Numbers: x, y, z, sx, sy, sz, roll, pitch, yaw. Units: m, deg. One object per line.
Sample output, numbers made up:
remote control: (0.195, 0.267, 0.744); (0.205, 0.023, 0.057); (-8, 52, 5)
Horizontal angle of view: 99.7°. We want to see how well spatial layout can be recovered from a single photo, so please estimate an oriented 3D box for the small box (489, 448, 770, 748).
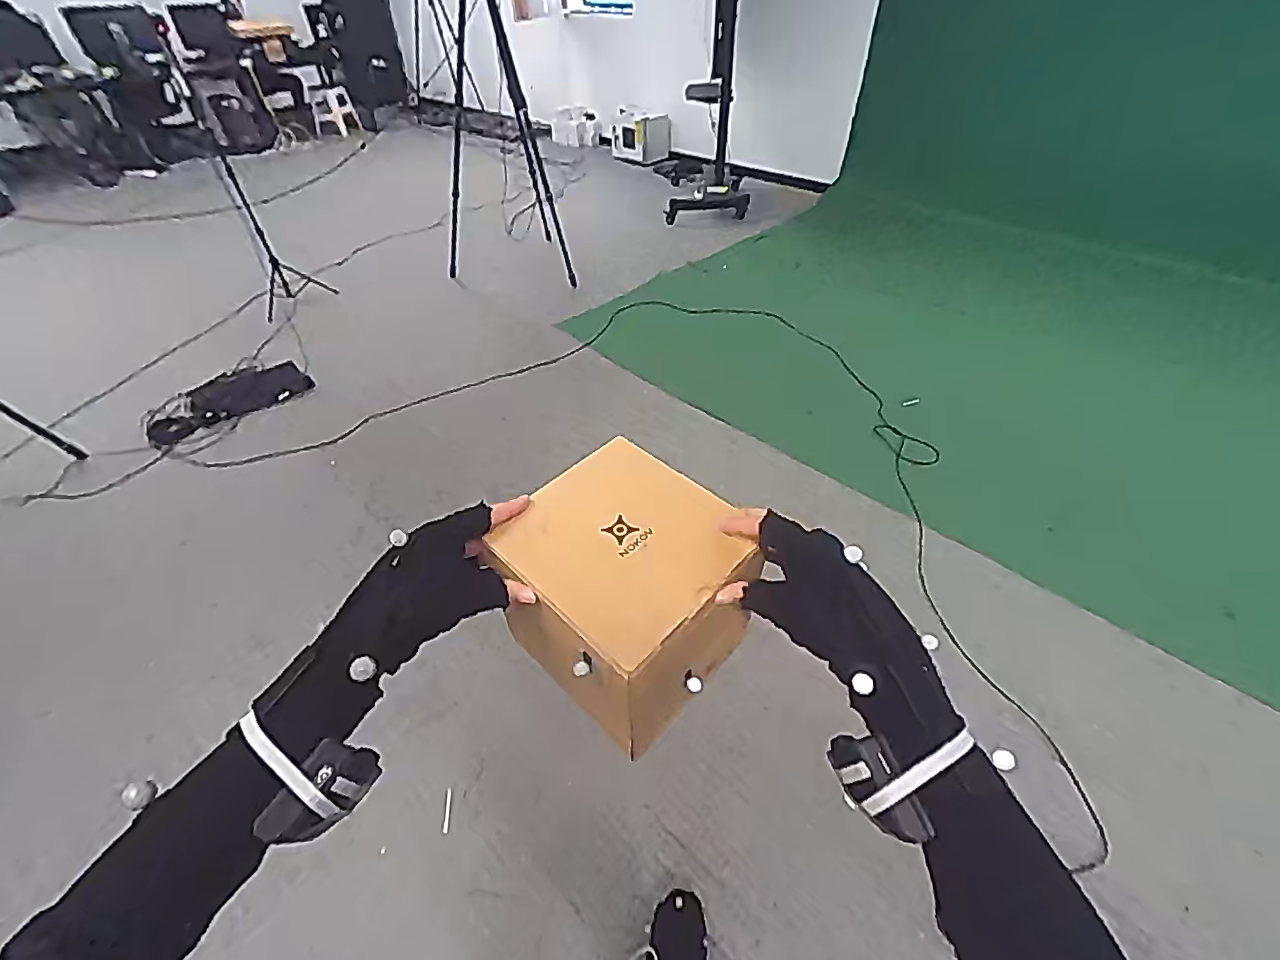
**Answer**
small box: (-0.011, 0.106, 0.500); (0.179, 0.176, 0.168); (35, 54, 29)
